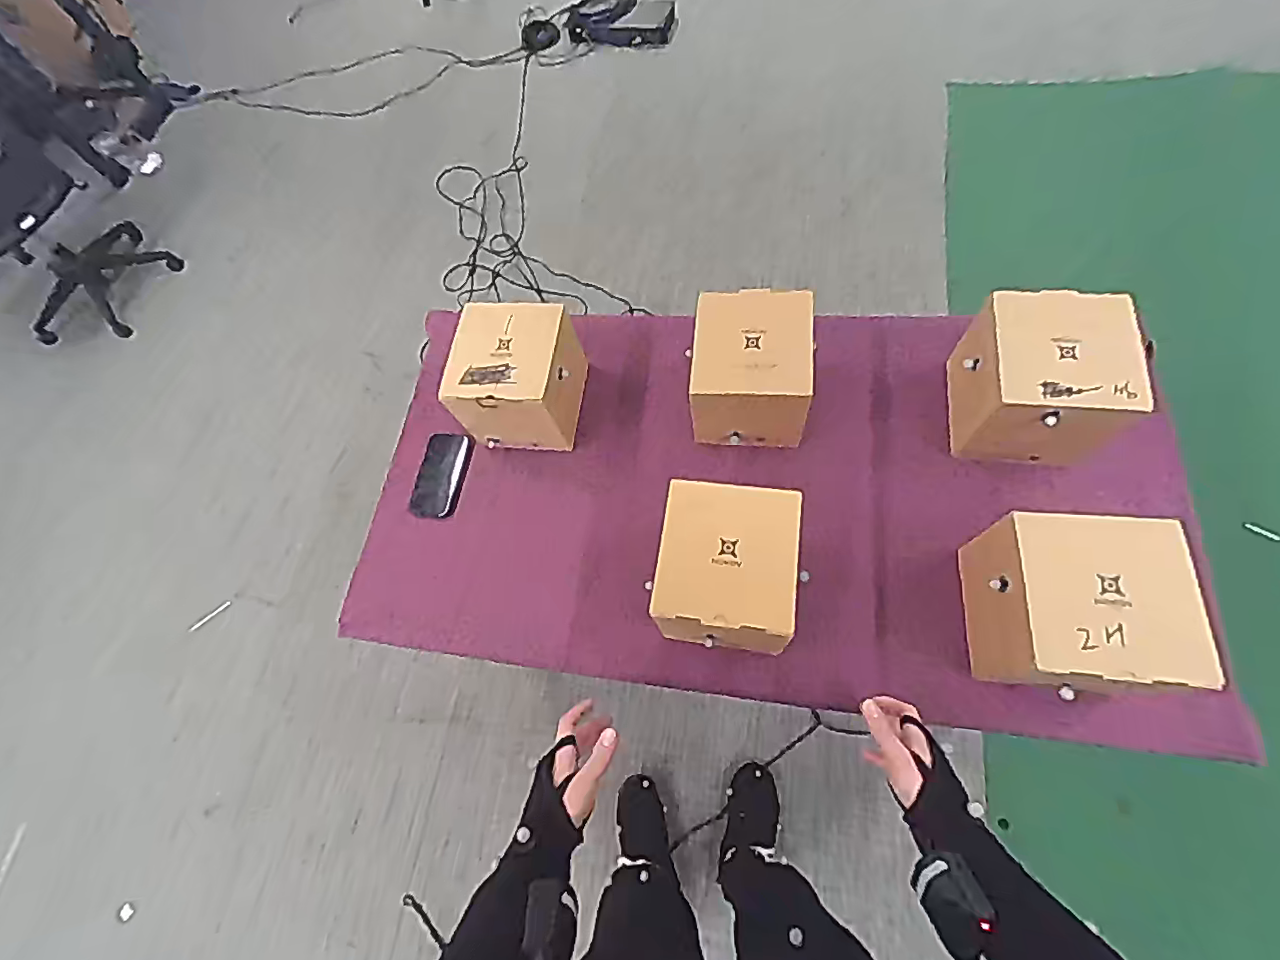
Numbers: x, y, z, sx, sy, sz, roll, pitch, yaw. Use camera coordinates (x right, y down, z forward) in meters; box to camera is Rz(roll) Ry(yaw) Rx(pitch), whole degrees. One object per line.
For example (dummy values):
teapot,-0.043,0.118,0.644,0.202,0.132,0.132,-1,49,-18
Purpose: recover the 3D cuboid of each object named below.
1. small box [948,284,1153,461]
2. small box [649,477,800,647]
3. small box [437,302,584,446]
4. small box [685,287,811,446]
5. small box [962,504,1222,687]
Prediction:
small box,0.544,-0.145,0.749,0.168,0.176,0.179,5,69,12
small box,0.113,0.114,0.717,0.168,0.176,0.179,5,68,11
small box,-0.198,-0.166,0.882,0.168,0.176,0.179,3,68,10
small box,0.163,-0.169,0.825,0.168,0.176,0.179,3,69,11
small box,0.501,0.141,0.636,0.168,0.176,0.179,2,69,12
